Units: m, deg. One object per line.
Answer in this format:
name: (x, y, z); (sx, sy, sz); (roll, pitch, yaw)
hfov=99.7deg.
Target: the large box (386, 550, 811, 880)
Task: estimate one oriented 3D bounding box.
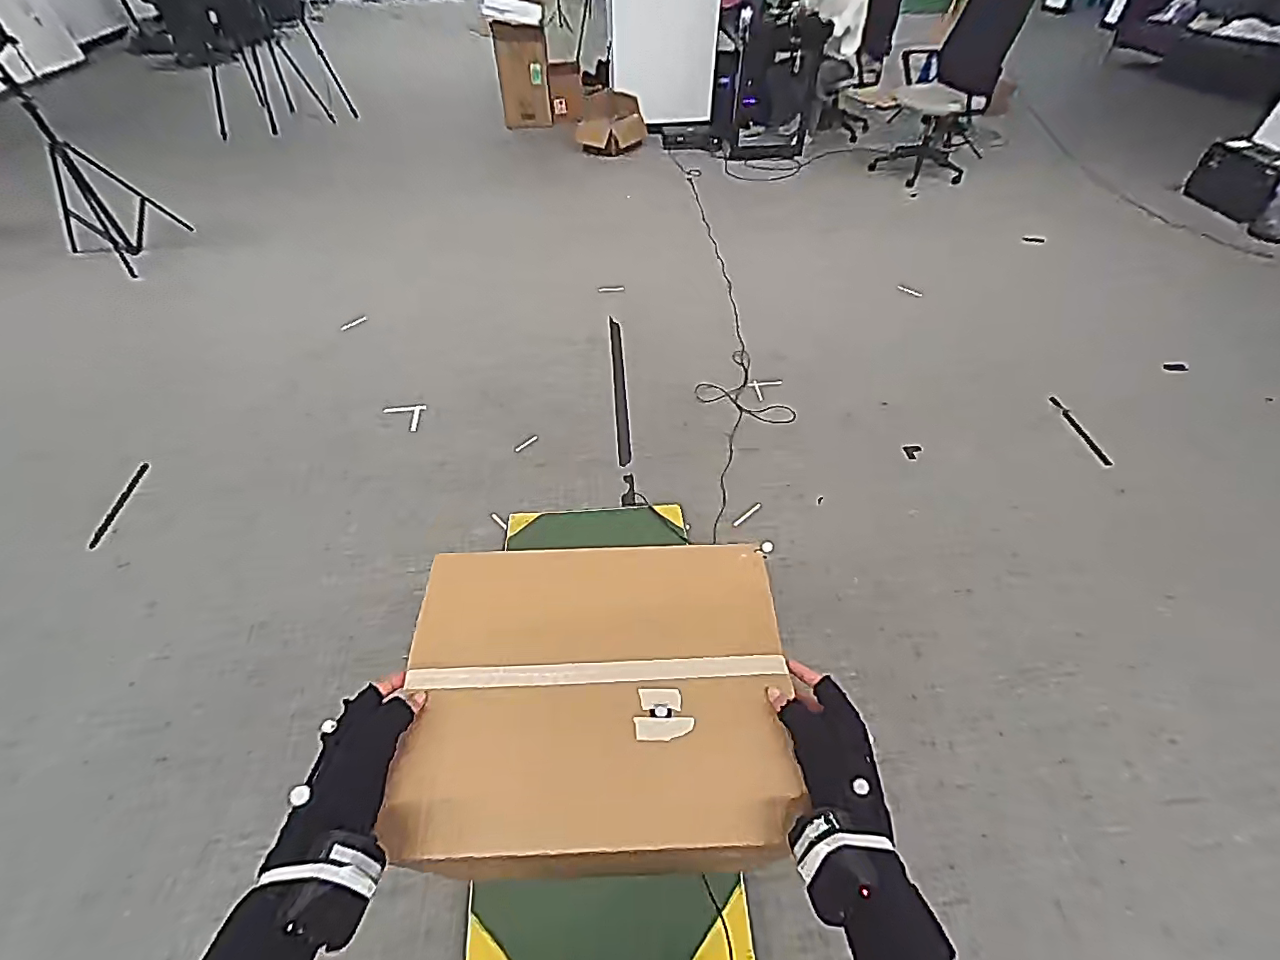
large box: (-0.045, 0.309, 0.706); (0.408, 0.320, 0.320); (-1, 51, -2)
